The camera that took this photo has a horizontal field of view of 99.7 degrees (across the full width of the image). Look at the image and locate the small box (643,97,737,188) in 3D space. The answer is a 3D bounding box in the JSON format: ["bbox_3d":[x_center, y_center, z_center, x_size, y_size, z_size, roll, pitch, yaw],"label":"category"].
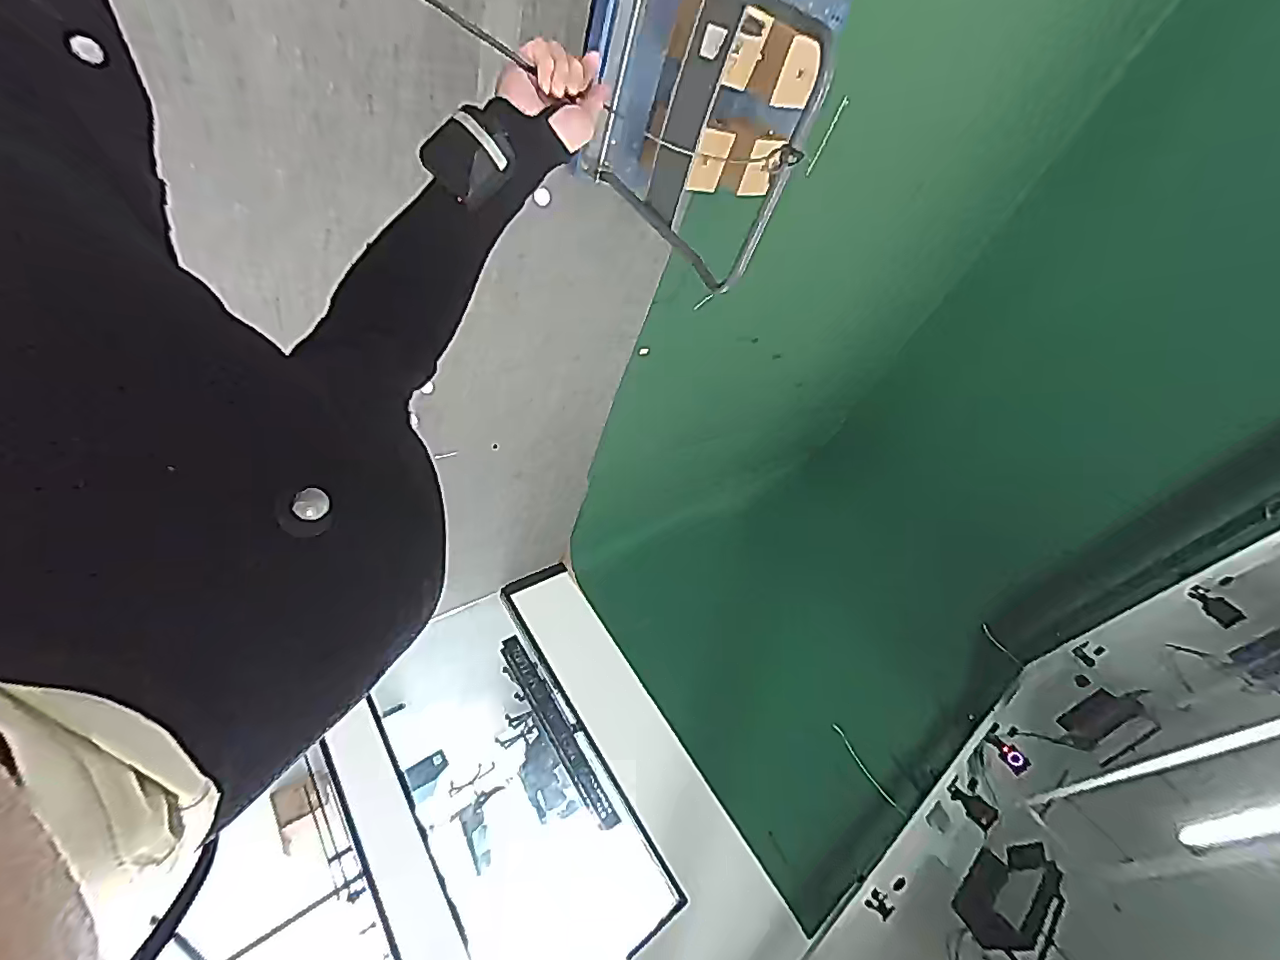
[{"bbox_3d":[0.142,-0.982,1.577,0.179,0.176,0.168,-16,148,-36],"label":"small box"}]

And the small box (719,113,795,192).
[{"bbox_3d":[0.353,-1.049,1.732,0.179,0.176,0.168,-19,148,-32],"label":"small box"}]

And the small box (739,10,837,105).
[{"bbox_3d":[0.415,-1.208,1.547,0.179,0.176,0.168,-20,150,-32],"label":"small box"}]
